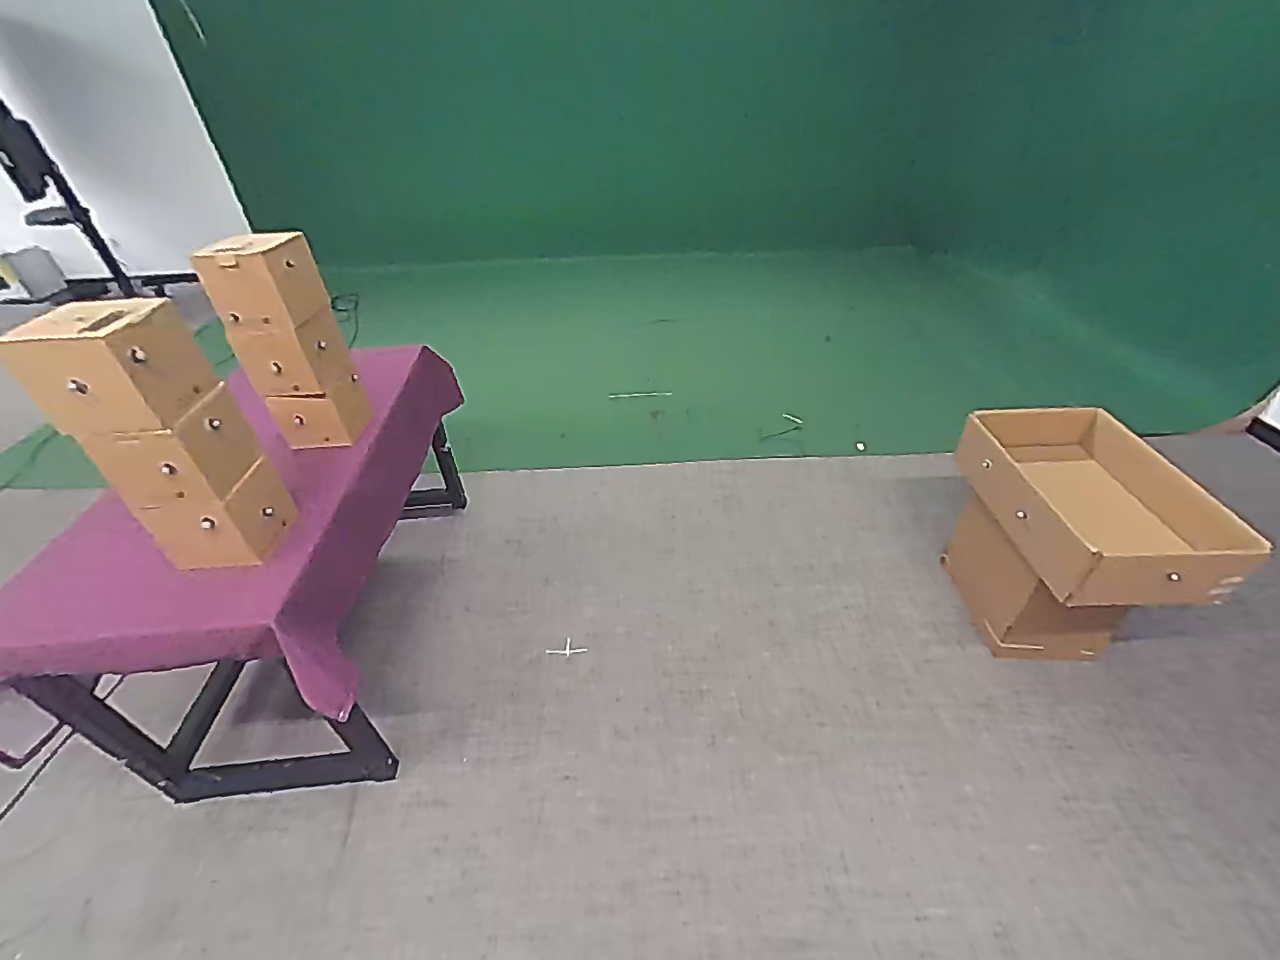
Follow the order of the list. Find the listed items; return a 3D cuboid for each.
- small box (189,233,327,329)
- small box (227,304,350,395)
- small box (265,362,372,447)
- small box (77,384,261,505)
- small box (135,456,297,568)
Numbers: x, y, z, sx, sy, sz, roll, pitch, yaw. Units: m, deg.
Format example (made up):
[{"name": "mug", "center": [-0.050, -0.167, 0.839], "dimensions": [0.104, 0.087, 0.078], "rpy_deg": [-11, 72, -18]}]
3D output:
[{"name": "small box", "center": [-0.867, -0.457, 1.252], "dimensions": [0.168, 0.176, 0.179], "rpy_deg": [-2, 37, 3]}, {"name": "small box", "center": [-0.860, -0.323, 1.348], "dimensions": [0.168, 0.176, 0.179], "rpy_deg": [-1, 39, 2]}, {"name": "small box", "center": [-0.852, -0.199, 1.456], "dimensions": [0.168, 0.176, 0.179], "rpy_deg": [-4, 38, -1]}, {"name": "small box", "center": [-0.867, -0.064, 1.023], "dimensions": [0.168, 0.176, 0.179], "rpy_deg": [-3, 38, -1]}, {"name": "small box", "center": [-0.859, 0.067, 1.121], "dimensions": [0.179, 0.176, 0.168], "rpy_deg": [-3, 38, 1]}]
